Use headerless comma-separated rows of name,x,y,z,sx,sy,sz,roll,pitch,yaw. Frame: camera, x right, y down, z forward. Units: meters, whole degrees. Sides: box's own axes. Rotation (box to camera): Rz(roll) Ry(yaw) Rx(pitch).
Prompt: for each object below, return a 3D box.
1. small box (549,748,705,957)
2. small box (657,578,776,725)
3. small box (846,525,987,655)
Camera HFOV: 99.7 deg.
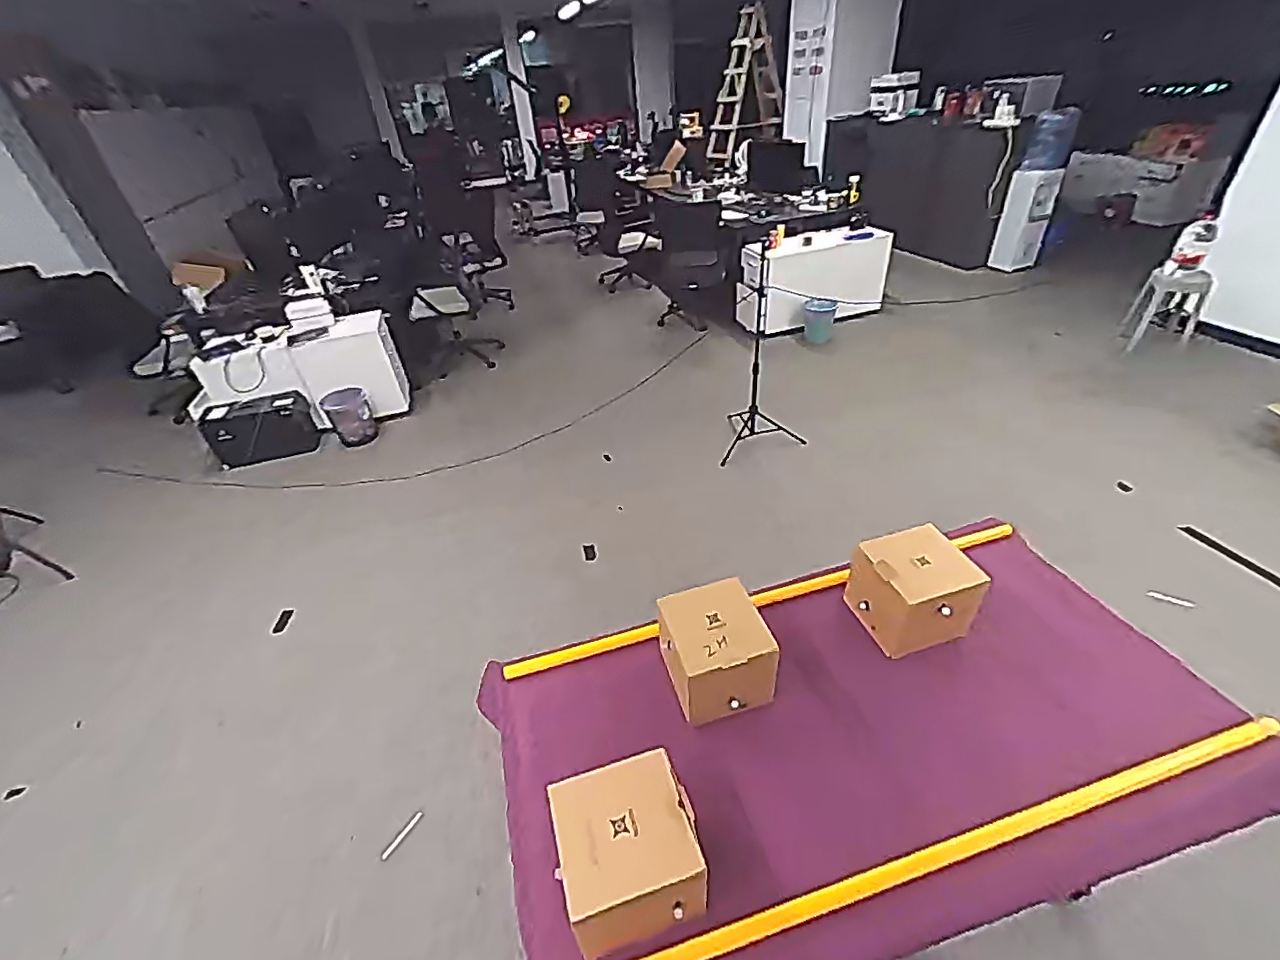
small box,-0.020,0.519,0.760,0.179,0.176,0.168,-12,36,-12
small box,0.136,0.318,1.011,0.168,0.176,0.179,-14,39,-10
small box,0.541,0.221,1.086,0.179,0.176,0.168,-14,38,-9
